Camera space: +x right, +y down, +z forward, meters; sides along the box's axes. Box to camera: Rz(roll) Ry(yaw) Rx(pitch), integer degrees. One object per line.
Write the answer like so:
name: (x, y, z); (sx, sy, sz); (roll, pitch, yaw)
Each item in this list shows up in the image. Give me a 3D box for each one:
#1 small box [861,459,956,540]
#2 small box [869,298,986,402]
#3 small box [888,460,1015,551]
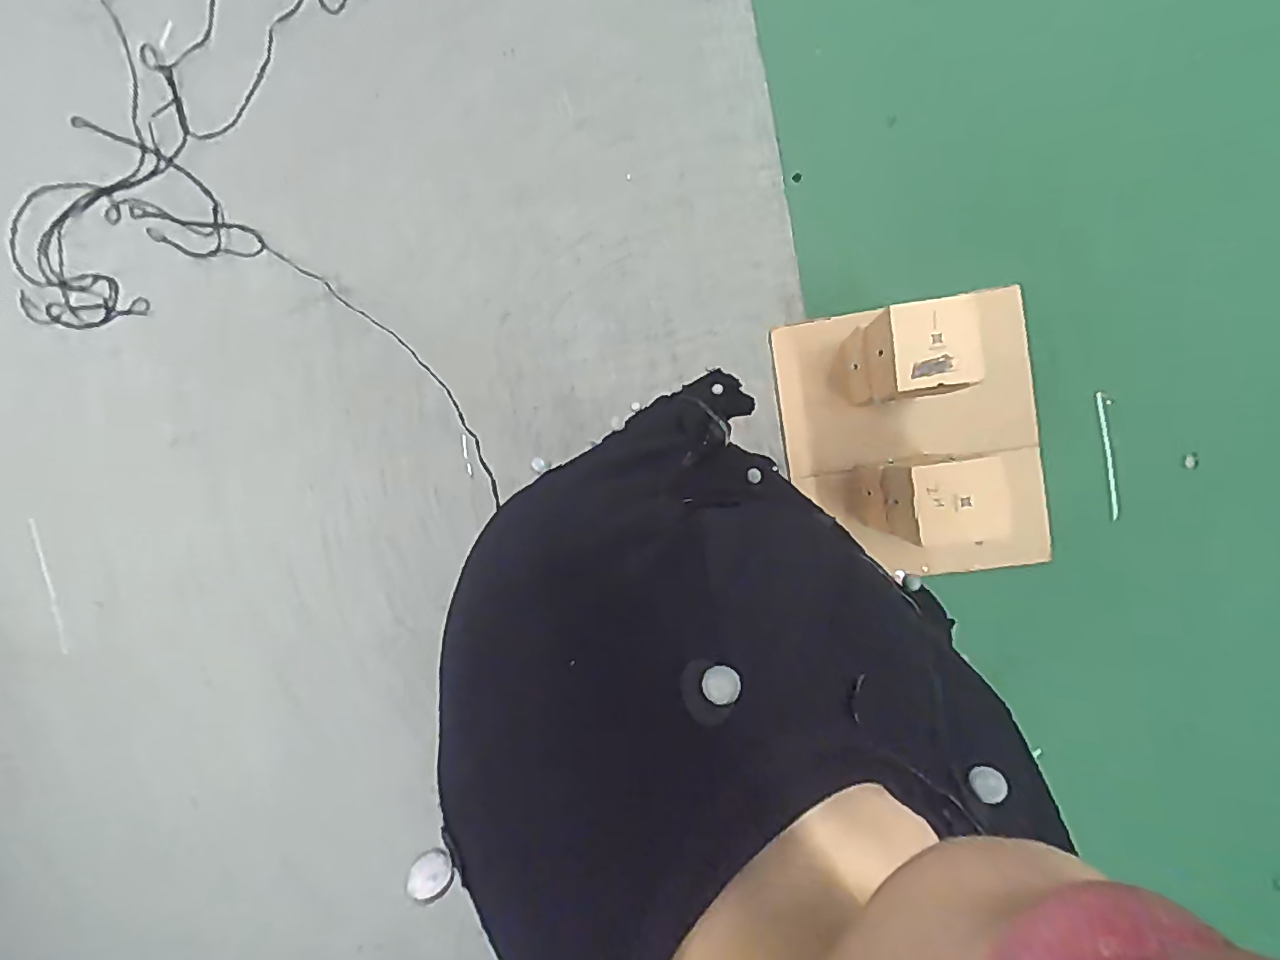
small box: (0.658, 0.042, 1.308); (0.179, 0.176, 0.168); (-10, 91, 9)
small box: (0.593, -0.260, 1.133); (0.168, 0.176, 0.179); (-5, 90, 8)
small box: (0.648, 0.048, 1.142); (0.179, 0.176, 0.168); (-8, 91, 8)
